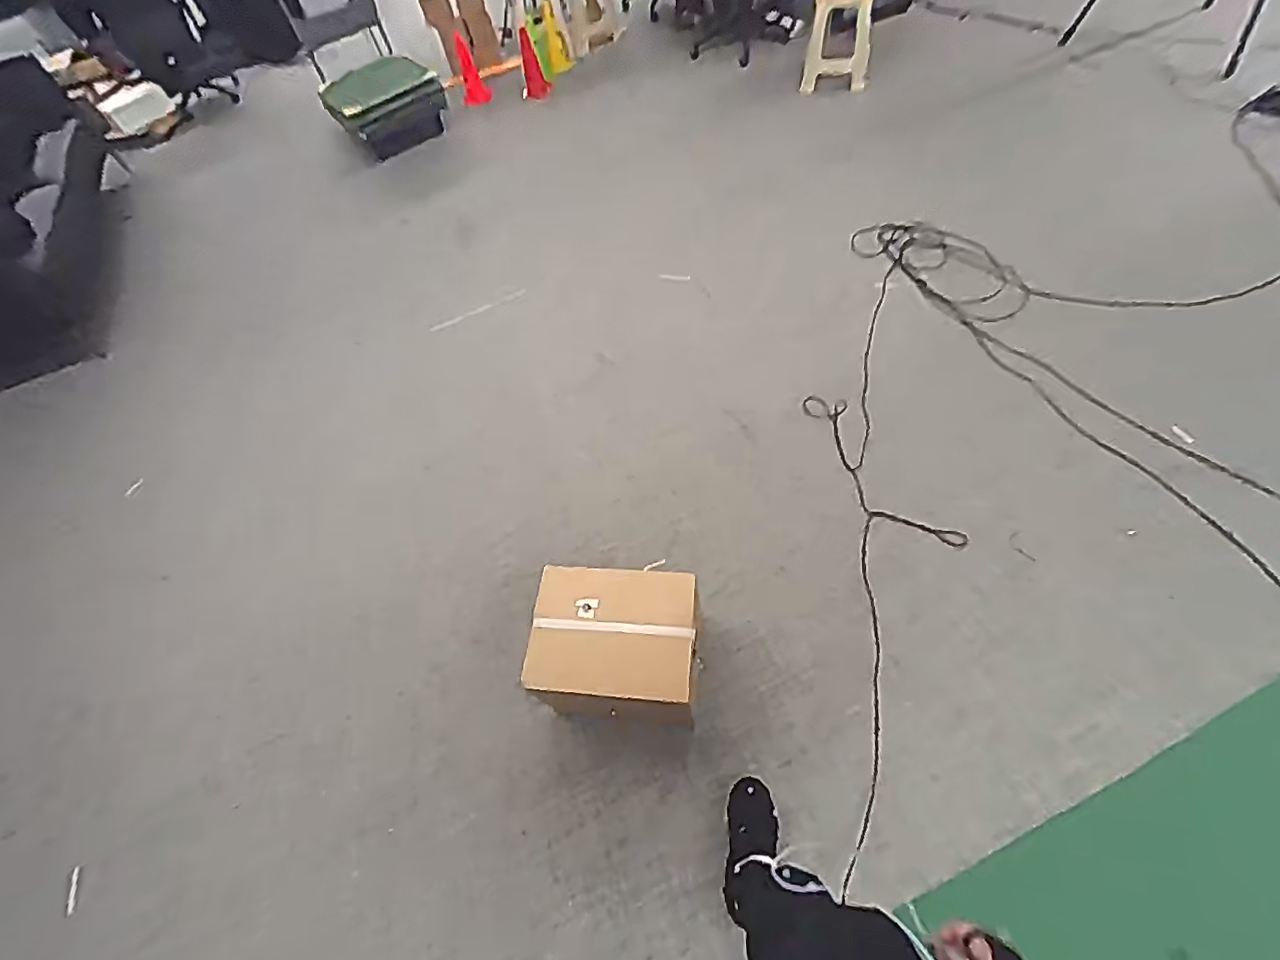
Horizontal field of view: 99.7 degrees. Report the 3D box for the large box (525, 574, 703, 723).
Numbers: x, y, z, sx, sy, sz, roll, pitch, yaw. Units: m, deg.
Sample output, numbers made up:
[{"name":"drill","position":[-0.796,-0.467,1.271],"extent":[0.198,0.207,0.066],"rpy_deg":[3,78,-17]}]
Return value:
[{"name":"large box","position":[-0.041,0.455,1.448],"extent":[0.408,0.320,0.320],"rpy_deg":[0,57,11]}]
